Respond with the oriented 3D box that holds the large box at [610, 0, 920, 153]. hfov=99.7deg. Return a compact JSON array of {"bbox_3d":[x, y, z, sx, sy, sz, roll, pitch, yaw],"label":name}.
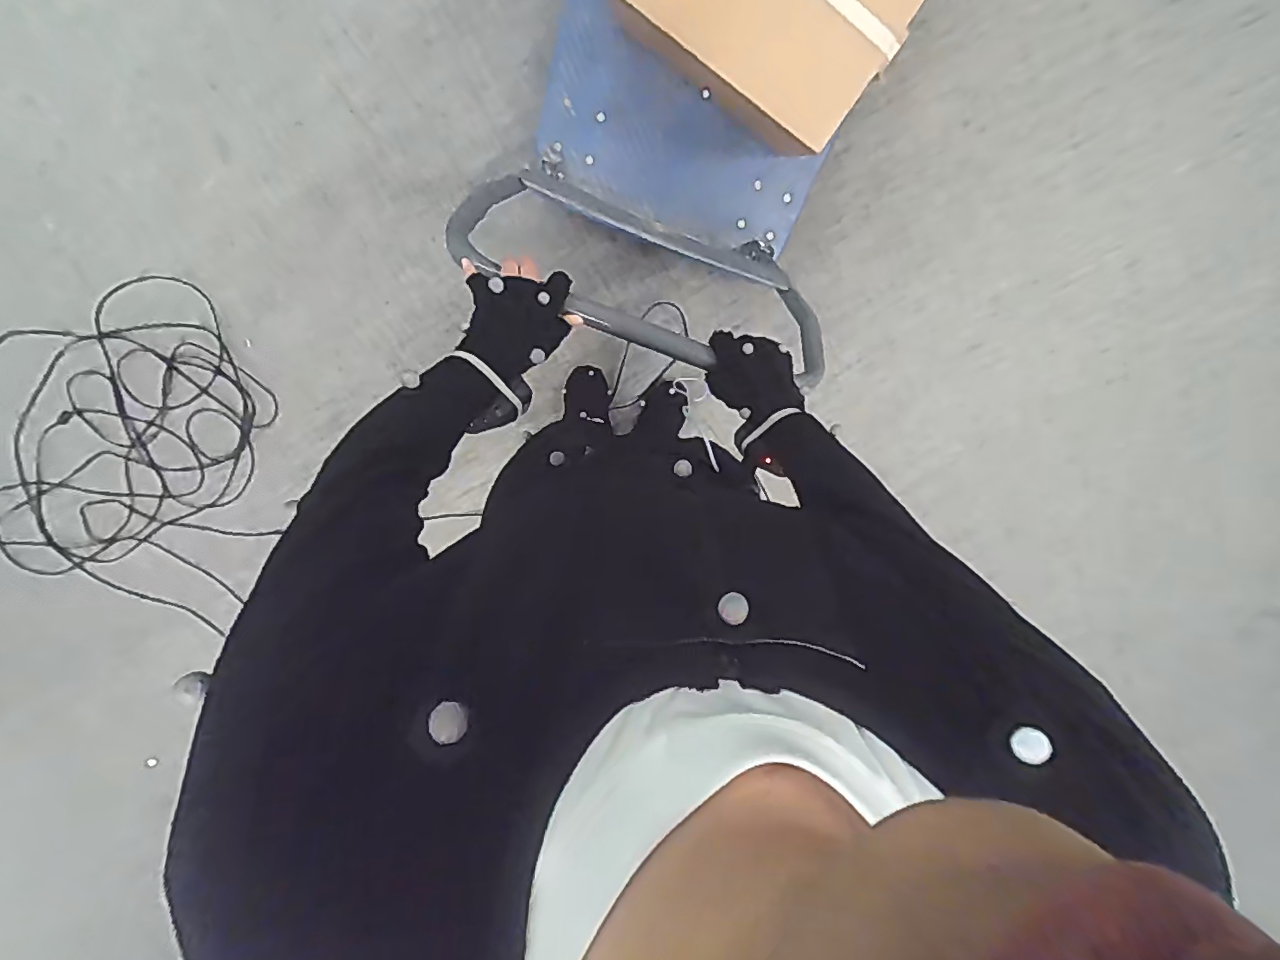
[{"bbox_3d":[0.202,-0.799,0.879,0.408,0.320,0.320,30,117,-13],"label":"large box"}]
